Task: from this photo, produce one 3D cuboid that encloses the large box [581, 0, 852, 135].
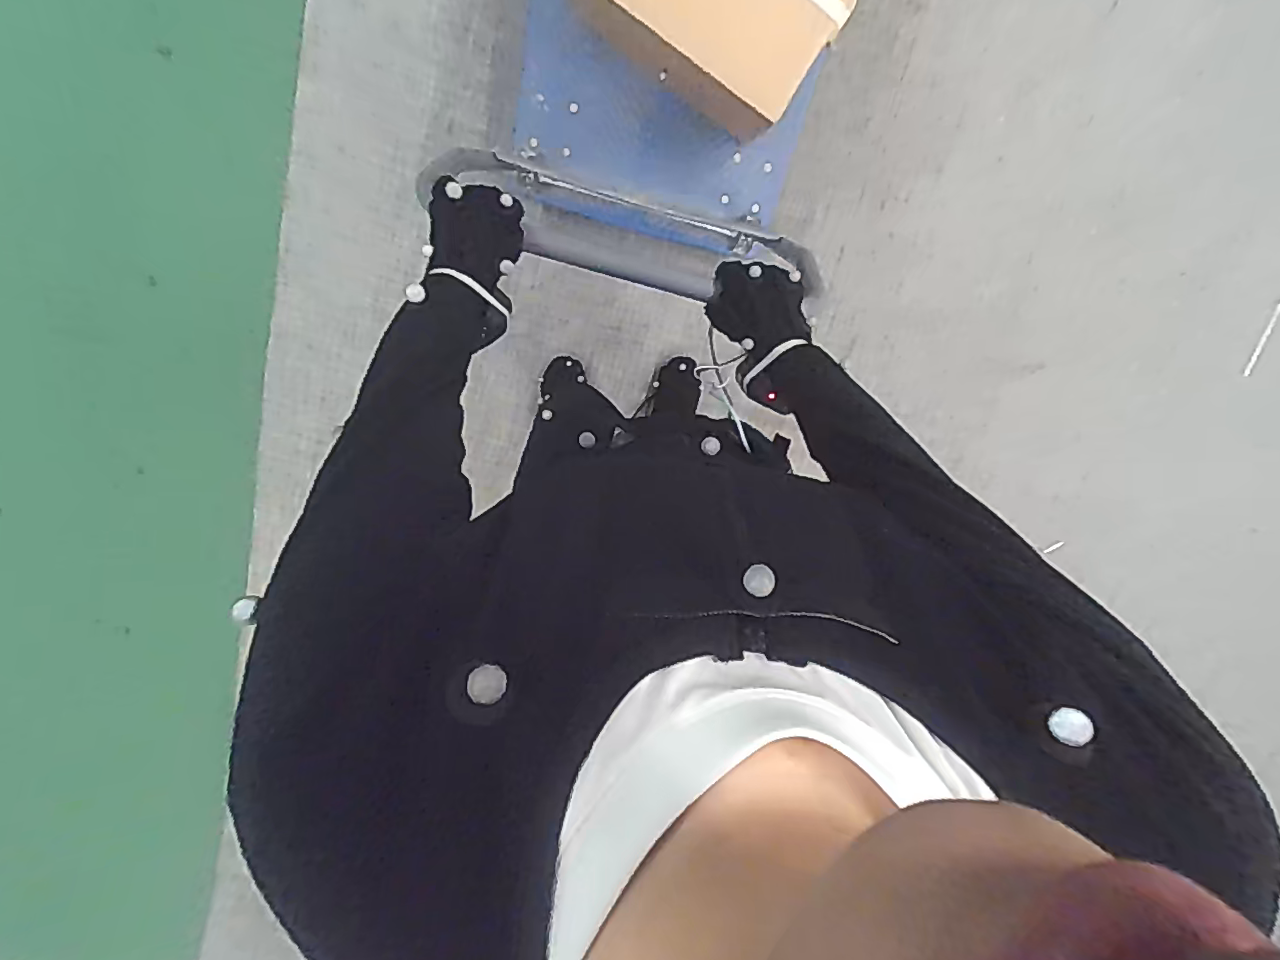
[{"bbox_3d":[0.137,-0.842,0.885,0.408,0.320,0.320,29,114,-12],"label":"large box"}]
